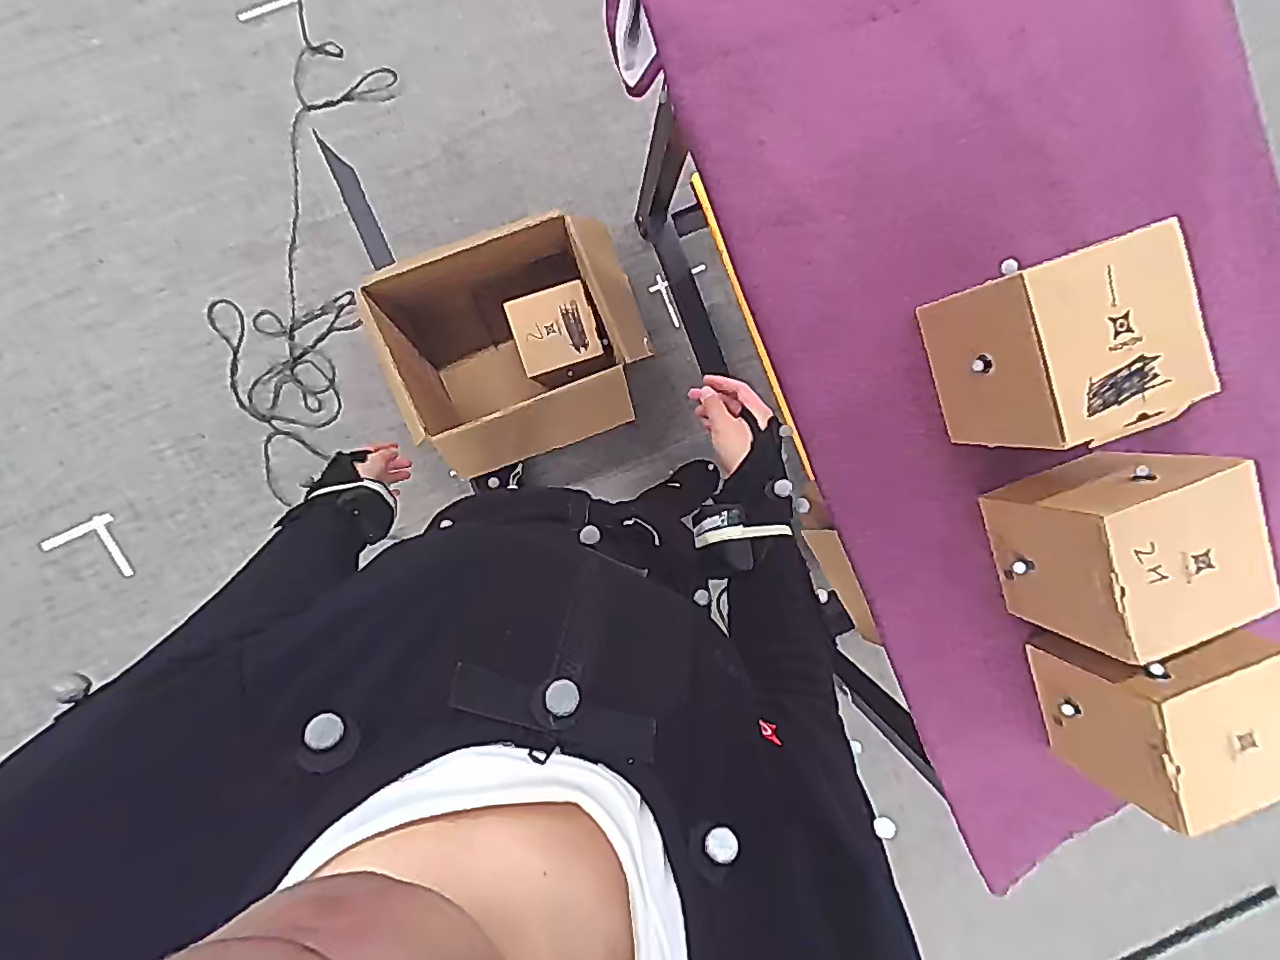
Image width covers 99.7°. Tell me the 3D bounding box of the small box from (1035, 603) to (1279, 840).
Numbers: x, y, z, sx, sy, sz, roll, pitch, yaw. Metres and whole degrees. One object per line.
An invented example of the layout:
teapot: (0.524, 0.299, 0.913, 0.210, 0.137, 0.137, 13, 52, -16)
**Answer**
small box: (0.626, 0.267, 0.642, 0.179, 0.176, 0.168, -19, 97, -4)

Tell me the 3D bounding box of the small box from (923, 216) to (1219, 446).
small box: (0.446, -0.147, 0.586, 0.168, 0.176, 0.179, -20, 96, -2)
